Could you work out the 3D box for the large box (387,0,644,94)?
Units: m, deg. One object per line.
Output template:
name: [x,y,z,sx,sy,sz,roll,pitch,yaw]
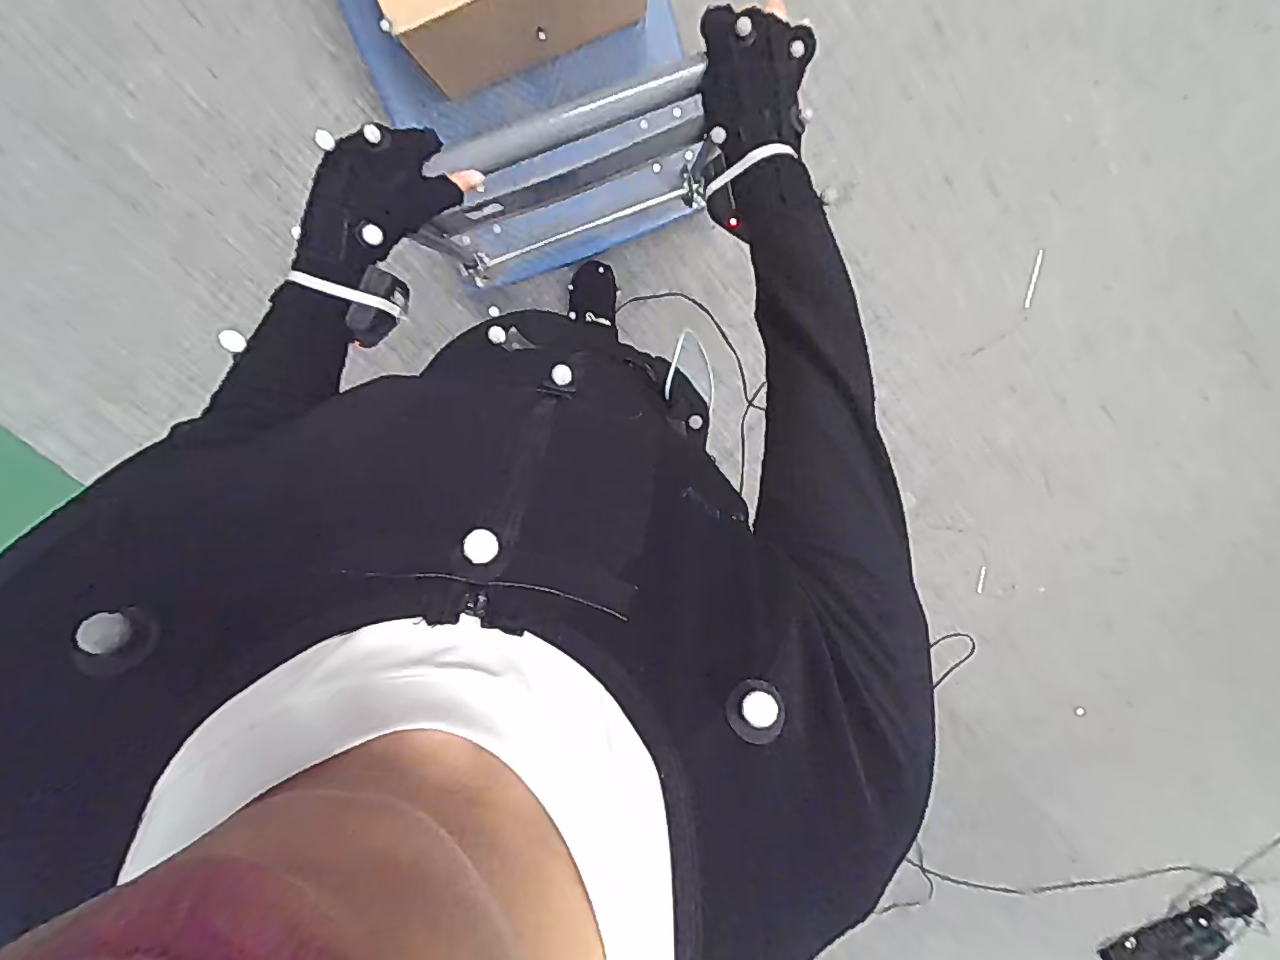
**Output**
large box: [-0.217,-0.889,0.835,0.408,0.320,0.320,-21,110,5]
